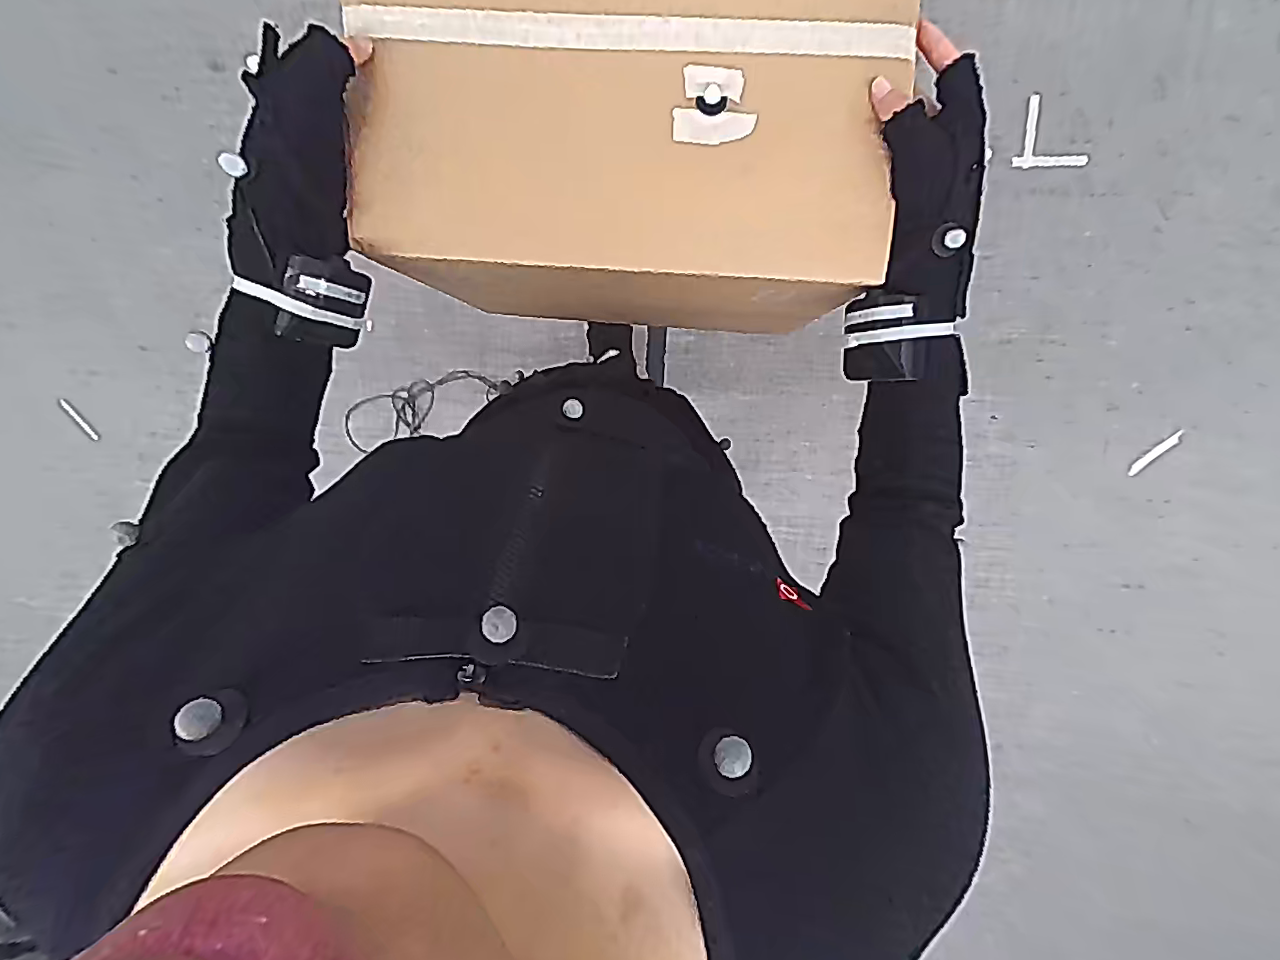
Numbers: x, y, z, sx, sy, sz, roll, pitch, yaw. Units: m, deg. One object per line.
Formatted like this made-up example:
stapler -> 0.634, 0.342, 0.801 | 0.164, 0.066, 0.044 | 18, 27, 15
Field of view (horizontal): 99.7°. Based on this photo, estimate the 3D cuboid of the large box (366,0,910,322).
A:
large box -> -0.002, -0.347, 0.544 | 0.408, 0.320, 0.320 | 4, 99, 2
